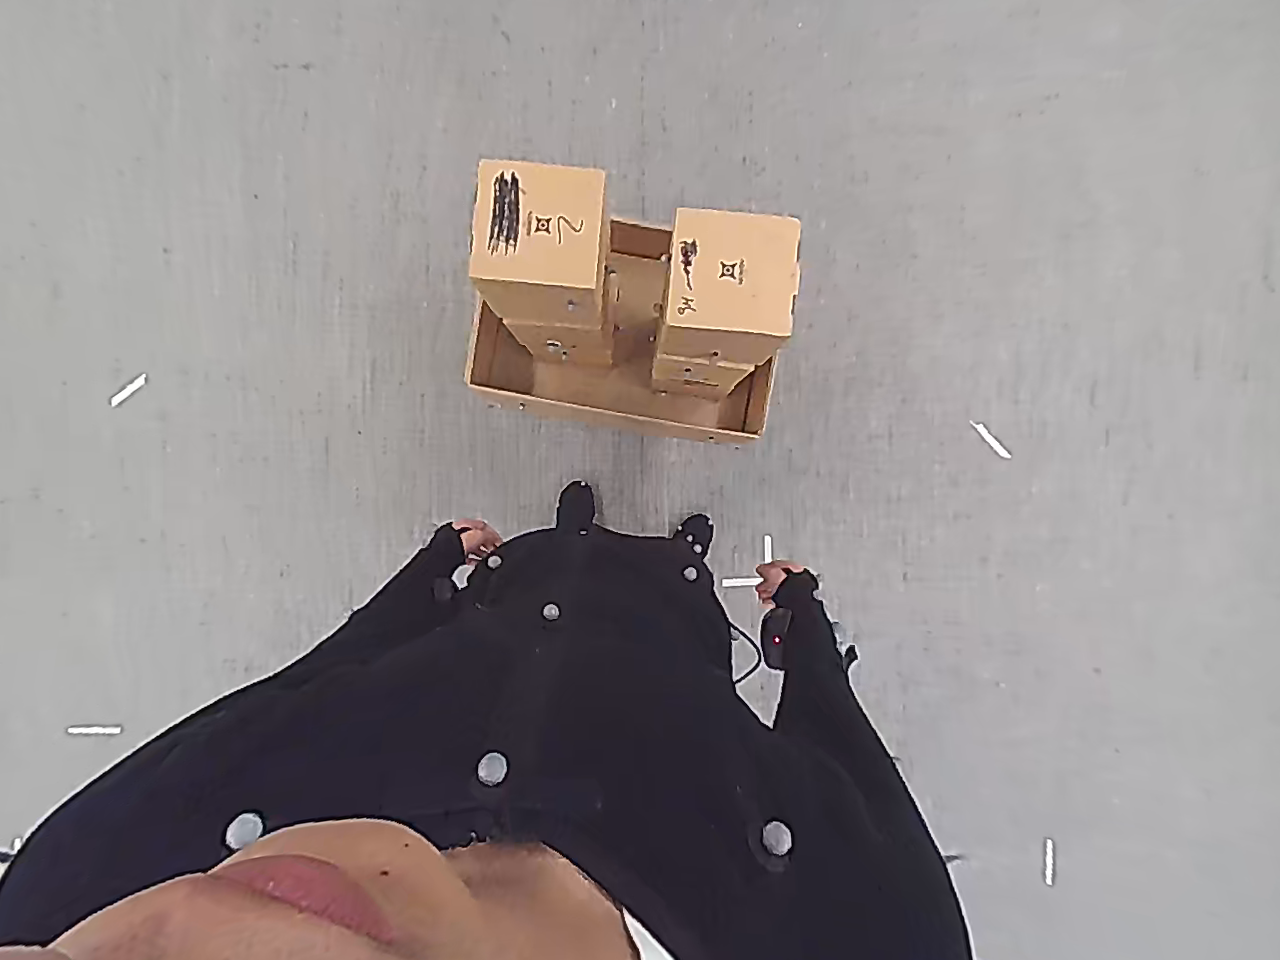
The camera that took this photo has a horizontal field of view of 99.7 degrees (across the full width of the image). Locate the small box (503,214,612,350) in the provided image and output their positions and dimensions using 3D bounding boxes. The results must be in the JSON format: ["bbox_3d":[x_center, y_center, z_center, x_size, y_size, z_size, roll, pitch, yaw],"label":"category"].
[{"bbox_3d":[-0.139,-0.346,0.972,0.168,0.176,0.179,4,90,0],"label":"small box"}]

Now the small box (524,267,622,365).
[{"bbox_3d":[-0.134,-0.345,1.136,0.179,0.176,0.168,7,91,-2],"label":"small box"}]

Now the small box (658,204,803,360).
[{"bbox_3d":[0.127,-0.285,0.817,0.179,0.176,0.168,6,89,-2],"label":"small box"}]

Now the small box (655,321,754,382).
[{"bbox_3d":[0.119,-0.283,0.981,0.168,0.176,0.179,8,89,-2],"label":"small box"}]
